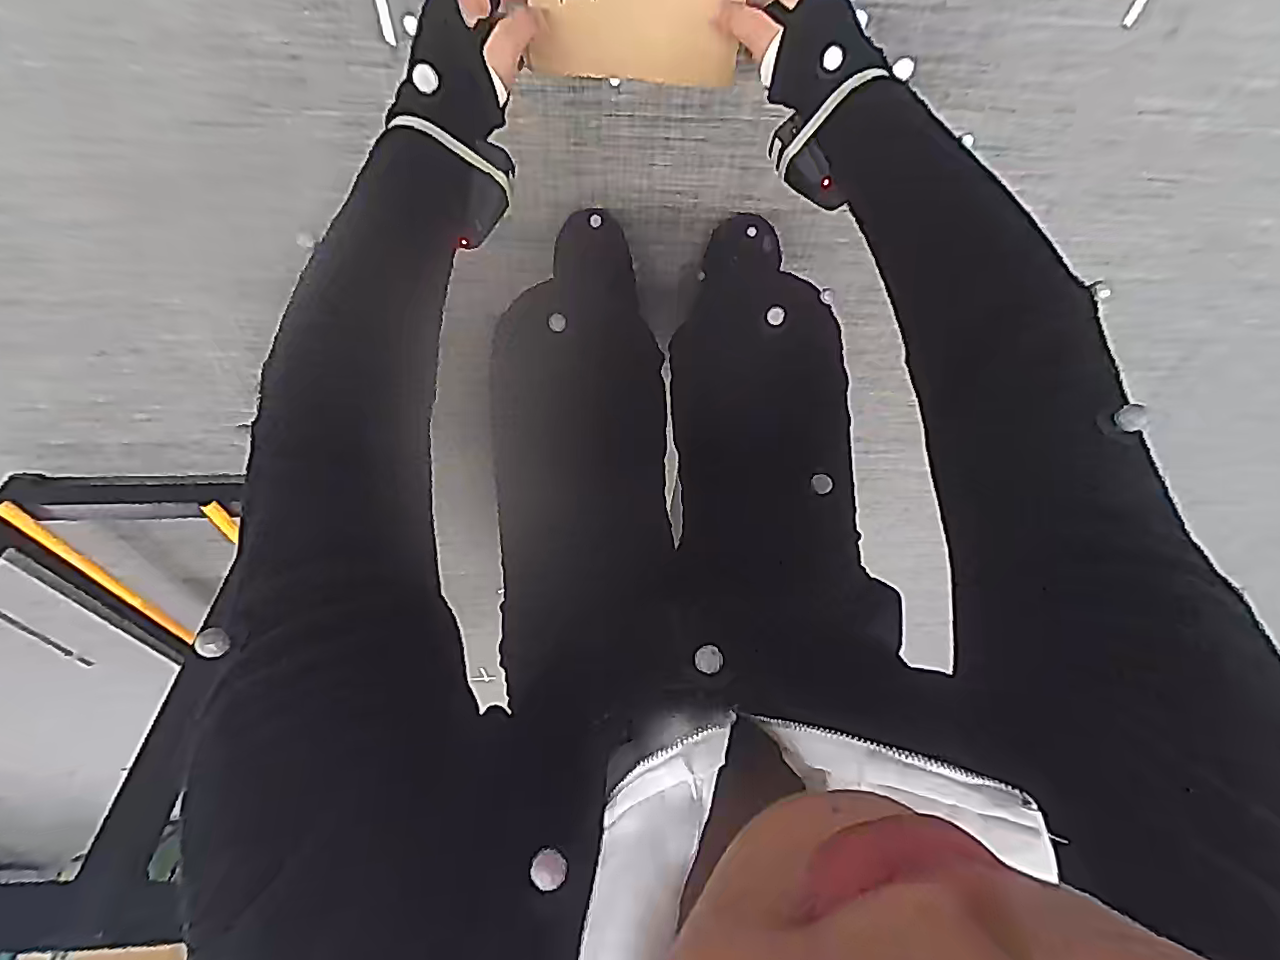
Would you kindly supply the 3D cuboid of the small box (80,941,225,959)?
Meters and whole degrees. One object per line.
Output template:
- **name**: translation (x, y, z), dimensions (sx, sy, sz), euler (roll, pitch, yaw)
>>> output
- **small box**: translation (-0.882, 0.916, 0.937), dimensions (0.179, 0.176, 0.168), euler (-2, 142, -3)

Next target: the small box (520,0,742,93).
- **small box**: translation (-0.007, -0.453, 0.455), dimensions (0.179, 0.176, 0.168), euler (1, 138, -7)
